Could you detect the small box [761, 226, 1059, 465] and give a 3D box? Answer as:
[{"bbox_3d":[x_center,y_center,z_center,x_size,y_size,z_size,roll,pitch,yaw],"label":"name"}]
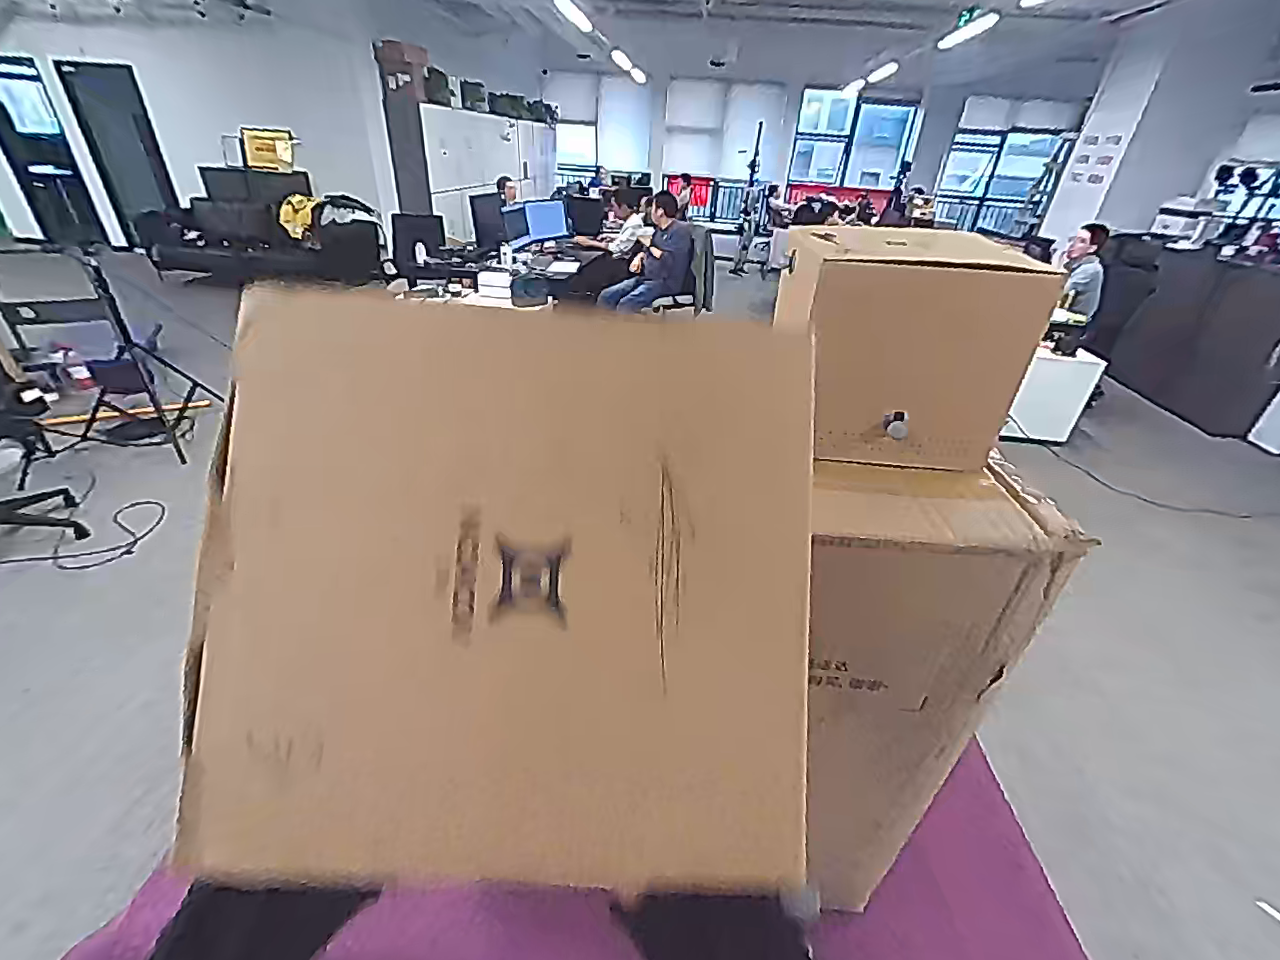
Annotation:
[{"bbox_3d":[0.220,-0.127,0.500,0.179,0.176,0.168,5,32,3],"label":"small box"}]
